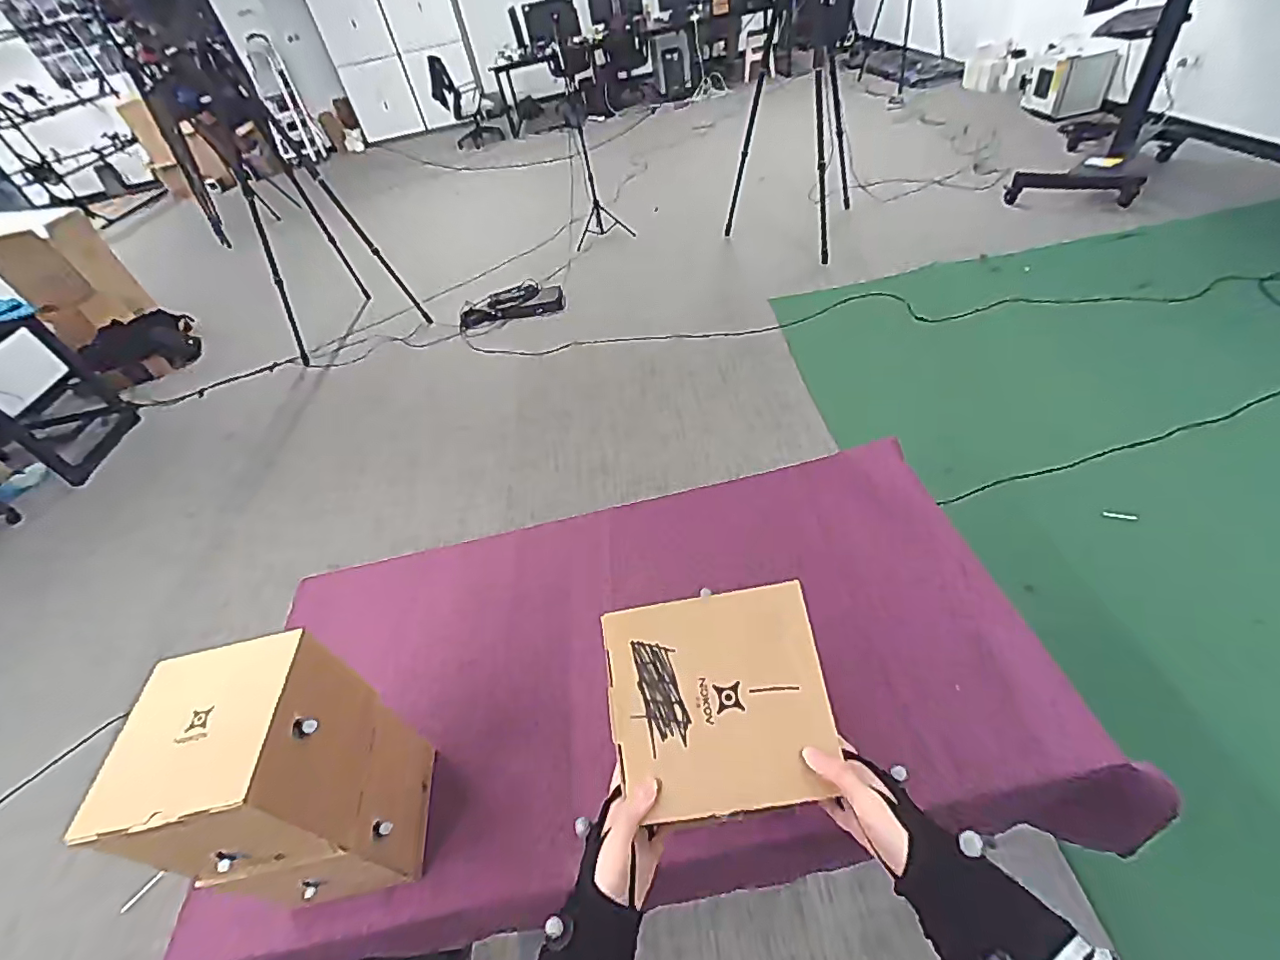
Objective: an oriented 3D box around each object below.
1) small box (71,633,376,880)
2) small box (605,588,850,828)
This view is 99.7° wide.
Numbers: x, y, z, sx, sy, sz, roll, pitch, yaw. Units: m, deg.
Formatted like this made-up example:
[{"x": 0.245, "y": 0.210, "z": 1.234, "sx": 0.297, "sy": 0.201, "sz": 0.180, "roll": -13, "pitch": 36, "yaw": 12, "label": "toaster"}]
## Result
[{"x": -0.413, "y": 0.296, "z": 0.581, "sx": 0.168, "sy": 0.176, "sz": 0.179, "roll": -13, "pitch": 45, "yaw": 1, "label": "small box"}, {"x": 0.074, "y": 0.206, "z": 0.515, "sx": 0.179, "sy": 0.176, "sz": 0.168, "roll": -10, "pitch": 71, "yaw": 3, "label": "small box"}]
